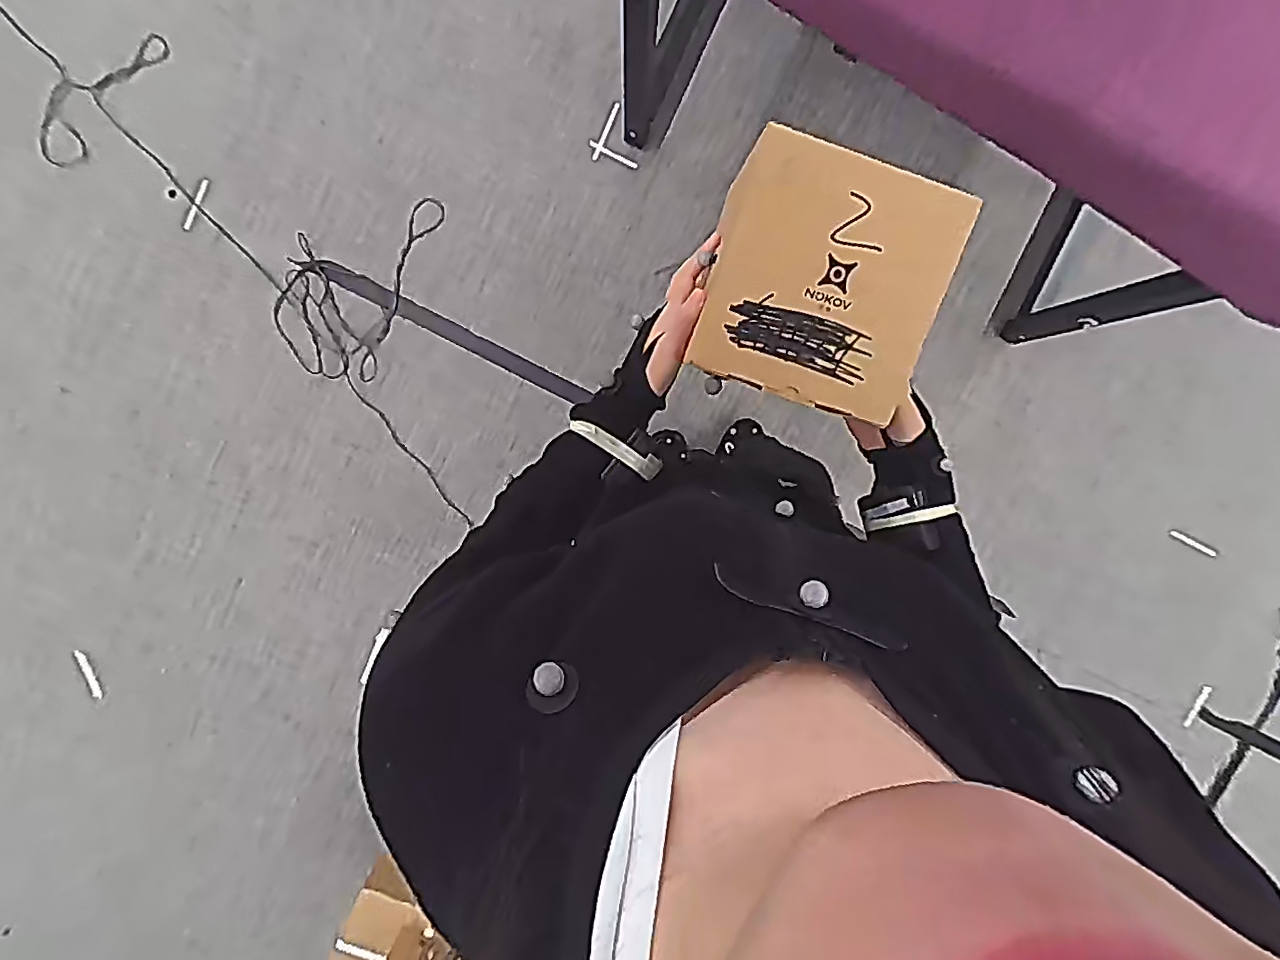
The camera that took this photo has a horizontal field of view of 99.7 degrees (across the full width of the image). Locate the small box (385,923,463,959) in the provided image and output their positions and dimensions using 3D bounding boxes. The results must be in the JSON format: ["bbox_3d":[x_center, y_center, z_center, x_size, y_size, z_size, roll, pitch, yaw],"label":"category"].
[{"bbox_3d":[-0.520,1.166,1.214,0.168,0.176,0.179,23,94,-4],"label":"small box"}]
